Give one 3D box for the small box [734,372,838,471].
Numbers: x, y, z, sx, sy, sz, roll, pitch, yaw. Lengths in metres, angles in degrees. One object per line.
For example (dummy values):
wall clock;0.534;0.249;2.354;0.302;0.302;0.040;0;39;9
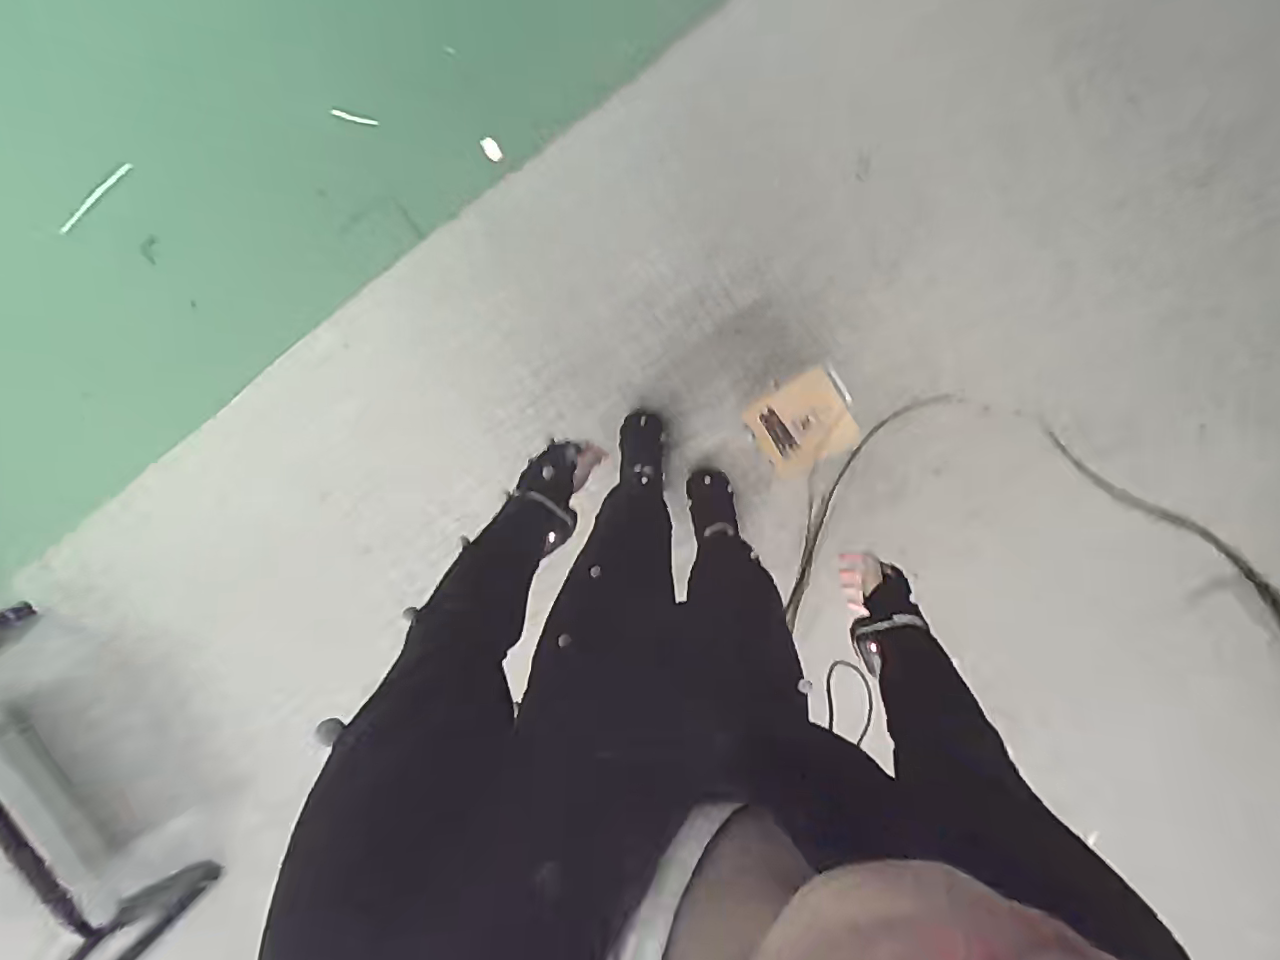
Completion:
small box;0.336;-0.144;1.282;0.179;0.176;0.168;-30;95;12
